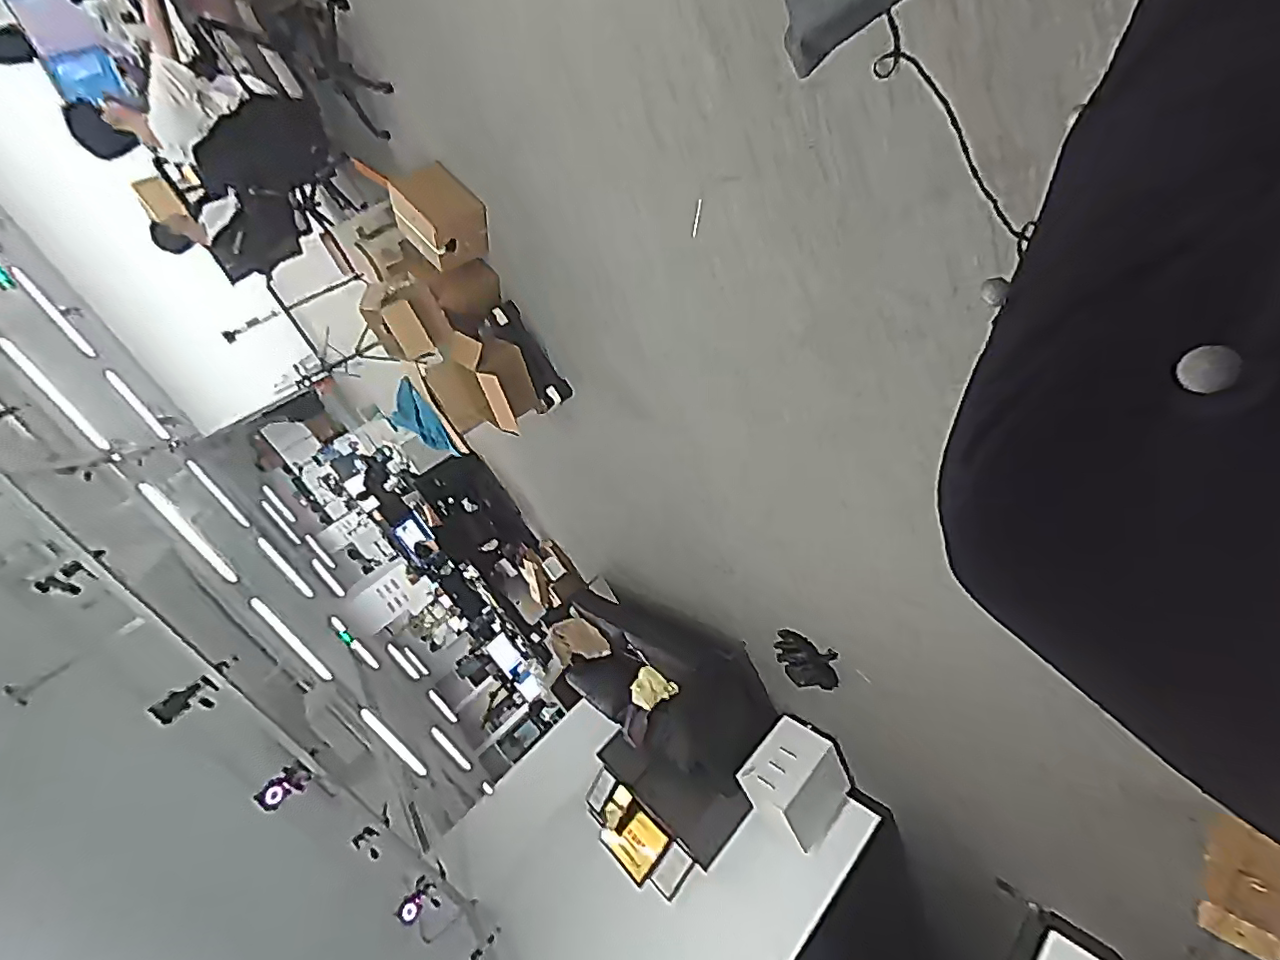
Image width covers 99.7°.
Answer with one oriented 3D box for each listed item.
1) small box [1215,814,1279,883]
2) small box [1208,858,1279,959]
[{"bbox_3d":[1.891,1.155,1.634,0.179,0.176,0.168,13,136,54],"label":"small box"},{"bbox_3d":[1.784,1.258,1.564,0.168,0.176,0.179,9,132,53],"label":"small box"}]
